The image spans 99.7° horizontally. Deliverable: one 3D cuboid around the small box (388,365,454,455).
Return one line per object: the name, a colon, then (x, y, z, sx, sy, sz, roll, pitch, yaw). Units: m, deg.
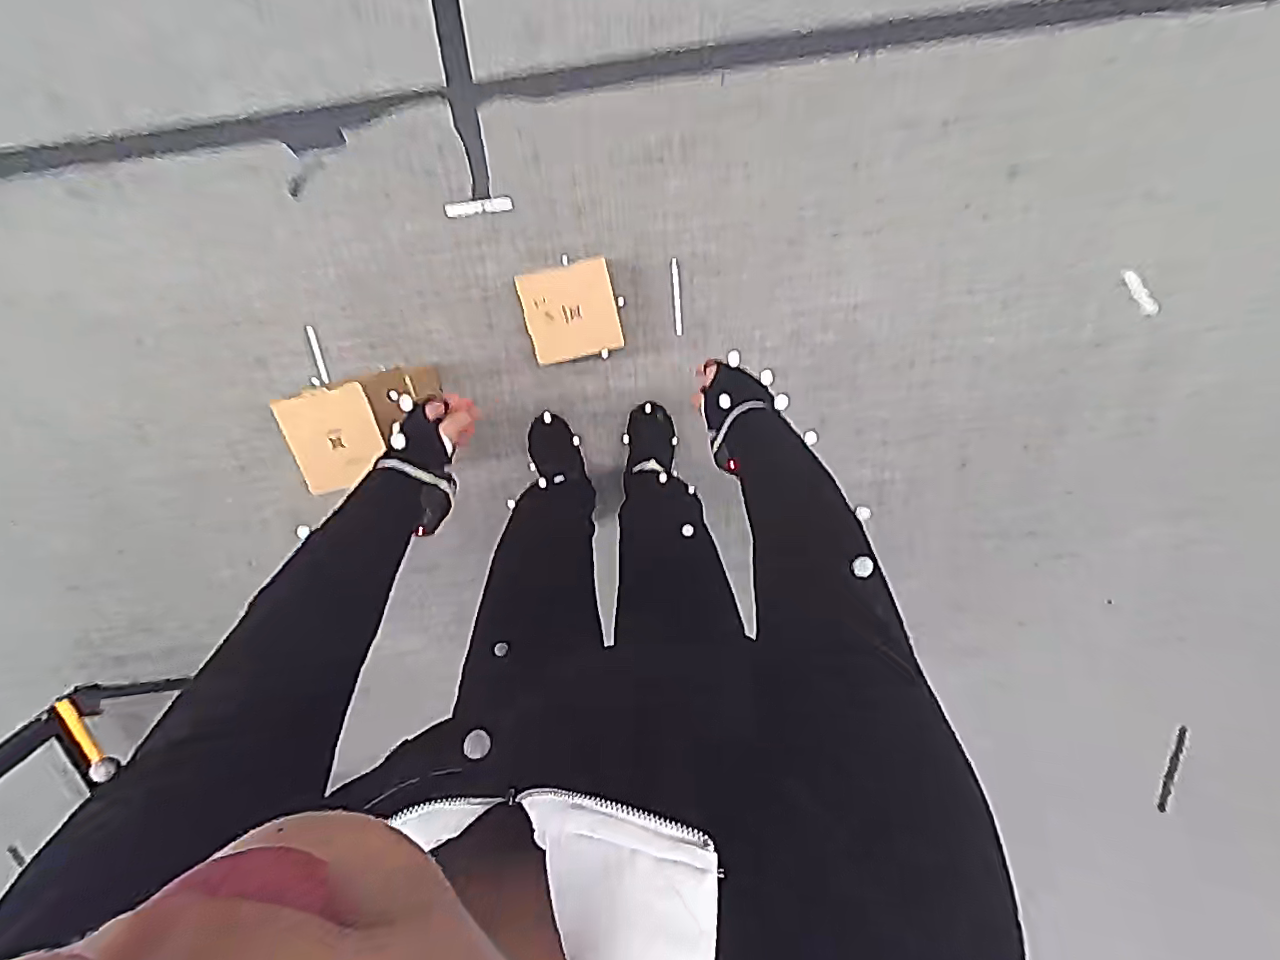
small box: (-0.526, -0.145, 1.164, 0.179, 0.176, 0.168, -9, 111, 2)

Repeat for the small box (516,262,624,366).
small box: (-0.135, -0.342, 1.102, 0.179, 0.176, 0.168, -12, 110, 3)

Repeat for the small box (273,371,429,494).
small box: (-0.524, -0.098, 1.008, 0.168, 0.176, 0.179, -12, 112, 4)
